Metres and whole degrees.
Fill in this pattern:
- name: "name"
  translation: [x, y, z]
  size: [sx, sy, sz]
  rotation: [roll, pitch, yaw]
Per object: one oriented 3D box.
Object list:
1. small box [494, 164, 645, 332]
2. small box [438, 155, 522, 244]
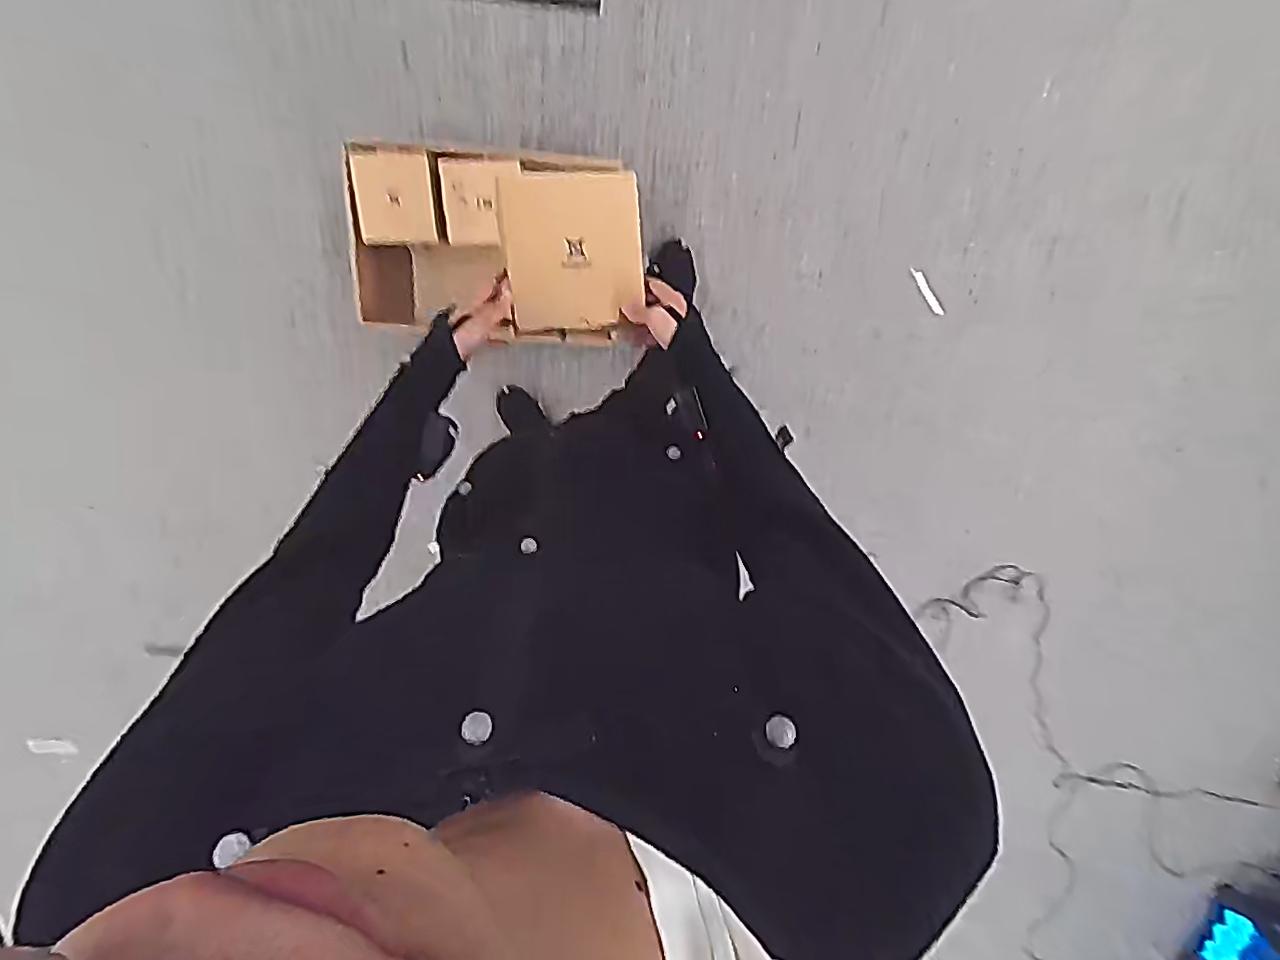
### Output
- name: "small box"
  translation: [-0.098, -0.294, 0.713]
  size: [0.168, 0.176, 0.179]
  rotation: [-8, 105, -12]
- name: "small box"
  translation: [-0.347, -0.638, 1.244]
  size: [0.179, 0.176, 0.168]
  rotation: [-2, 111, -4]
